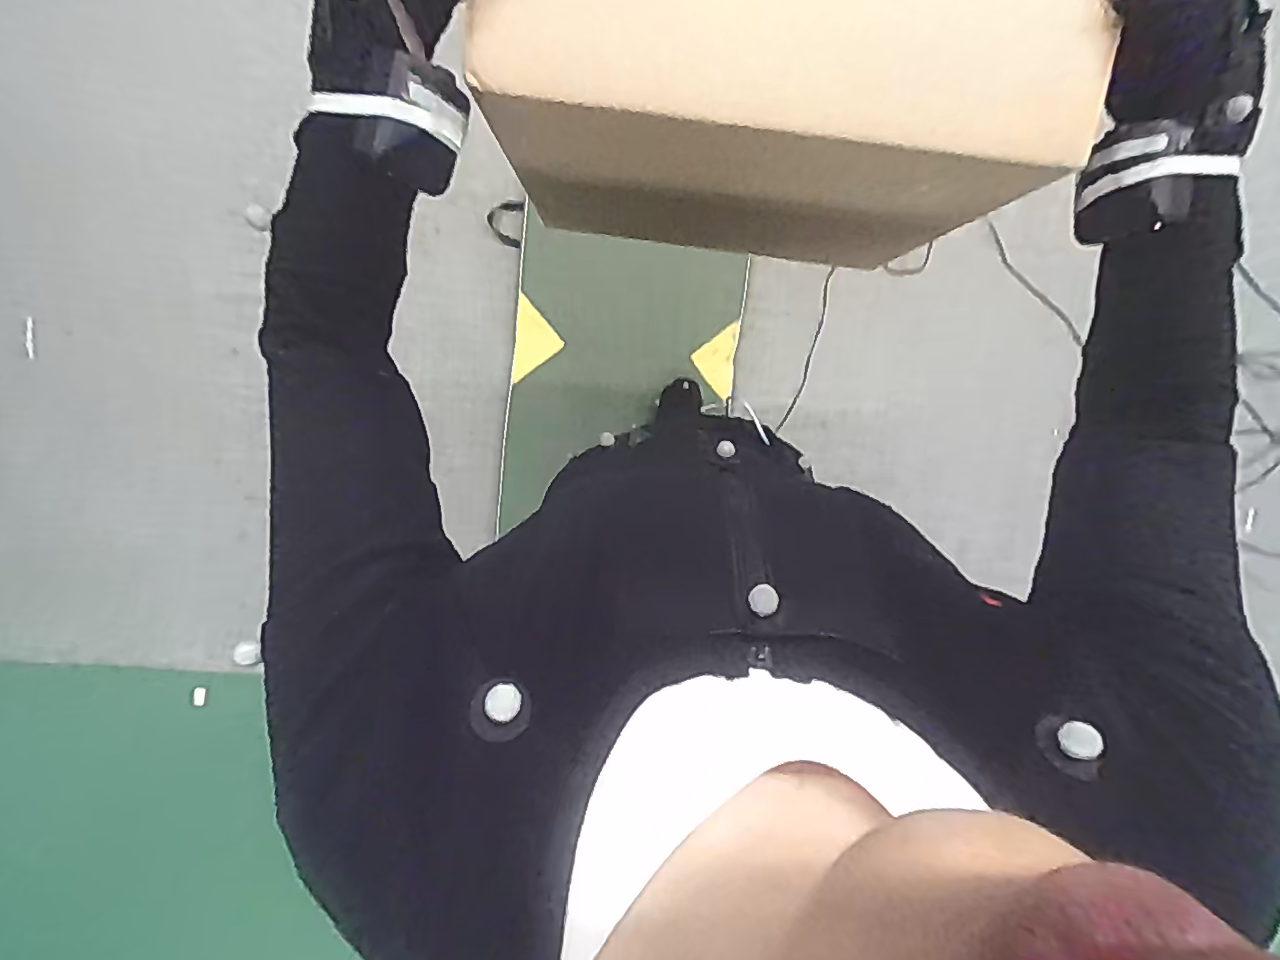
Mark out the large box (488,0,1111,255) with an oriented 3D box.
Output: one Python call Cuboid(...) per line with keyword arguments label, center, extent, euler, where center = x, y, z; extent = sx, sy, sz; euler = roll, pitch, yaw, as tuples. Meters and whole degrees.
Cuboid(label="large box", center=(0.106, -0.412, 0.476), extent=(0.408, 0.320, 0.320), euler=(6, 100, -3))
